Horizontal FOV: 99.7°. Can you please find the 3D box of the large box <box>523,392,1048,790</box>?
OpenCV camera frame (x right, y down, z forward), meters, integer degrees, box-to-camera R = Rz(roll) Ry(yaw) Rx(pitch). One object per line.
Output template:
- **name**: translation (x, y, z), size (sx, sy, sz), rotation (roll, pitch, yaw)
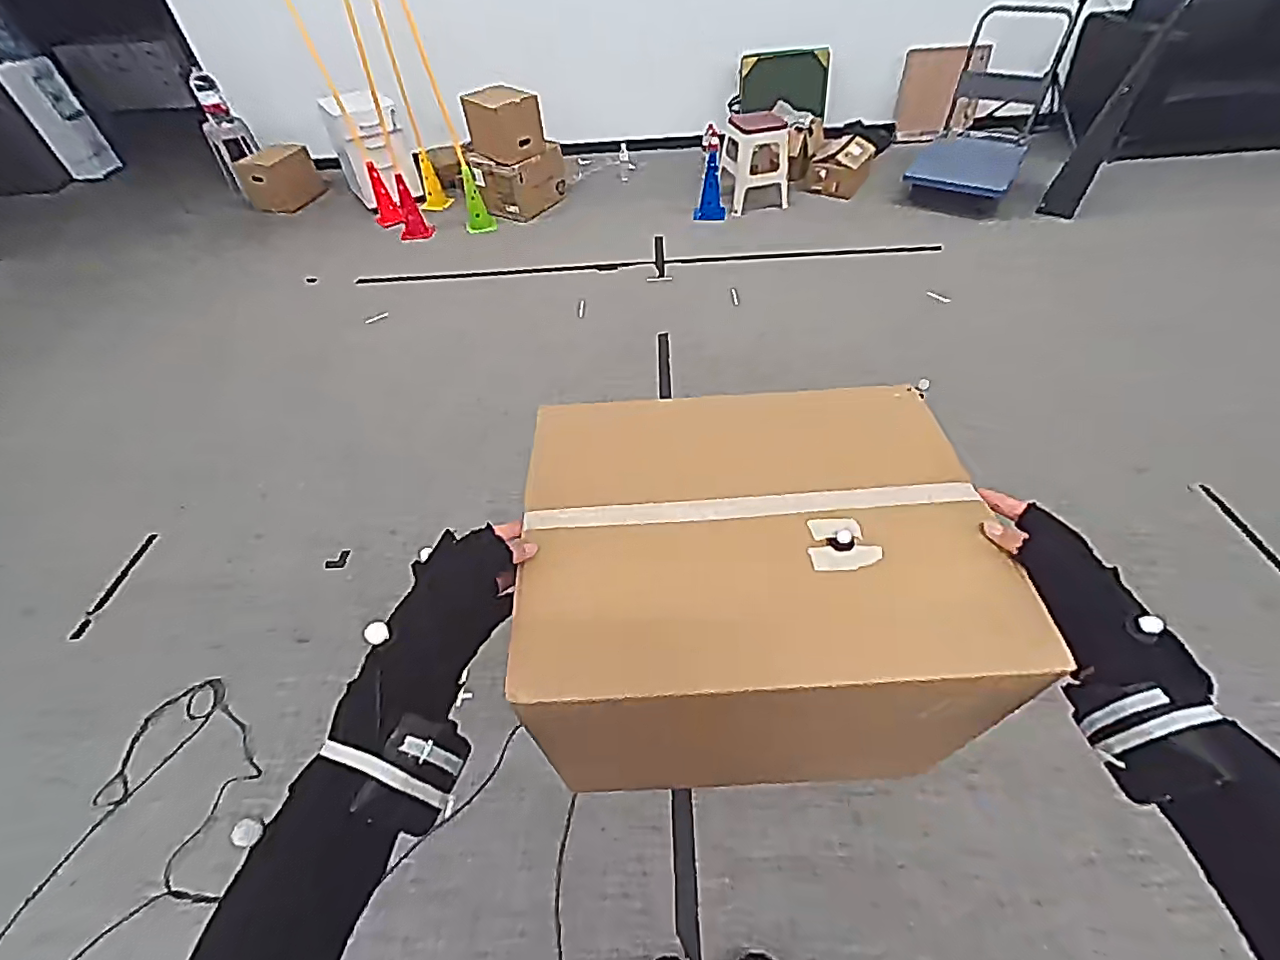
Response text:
- **large box**: translation (0.105, 0.130, 0.608), size (0.408, 0.320, 0.320), rotation (-4, 50, 0)
